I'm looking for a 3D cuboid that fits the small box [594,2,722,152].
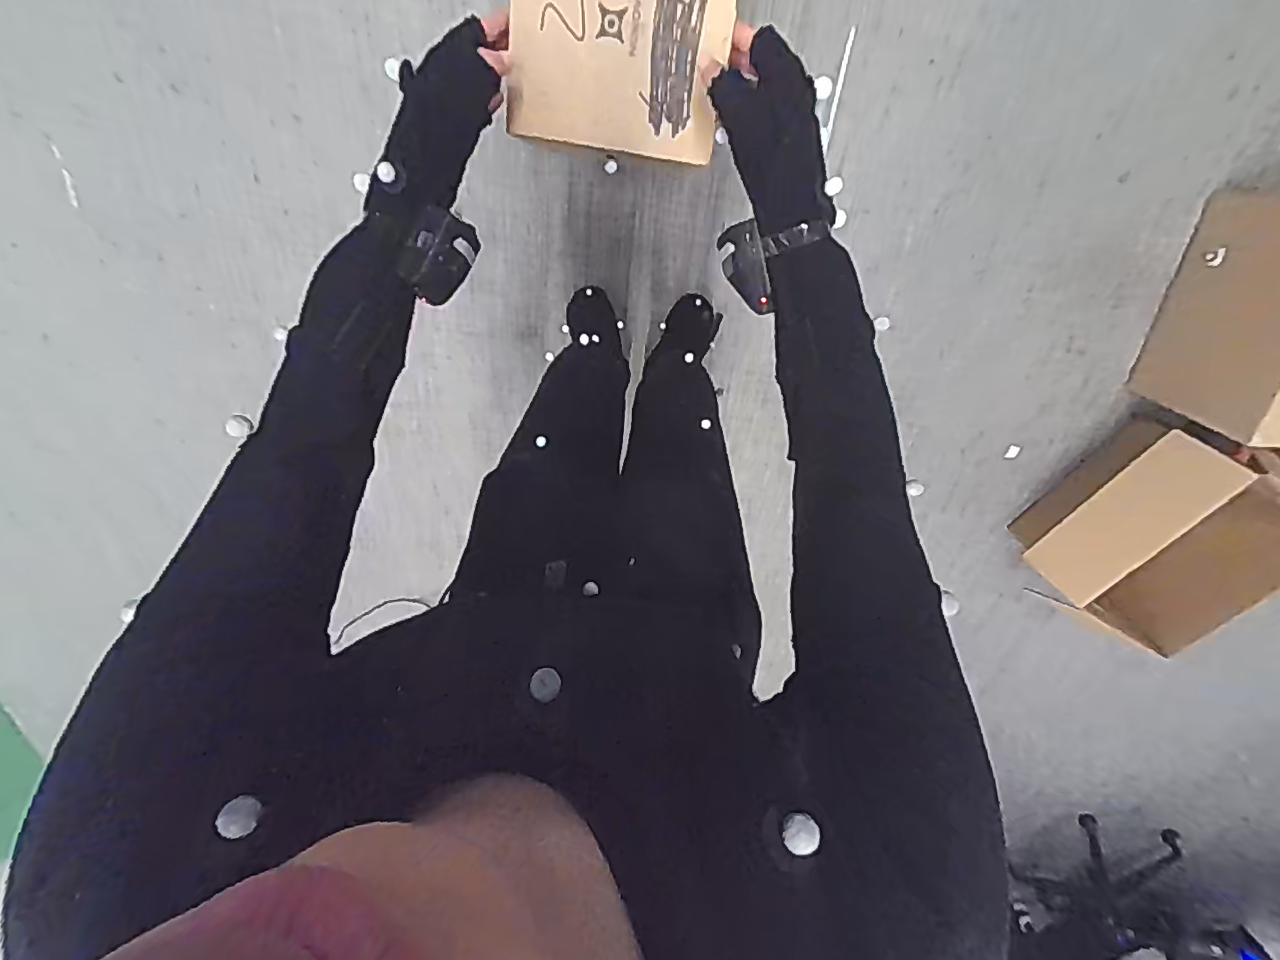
[{"bbox_3d":[0.028,-0.680,0.935,0.179,0.176,0.168,12,120,-5],"label":"small box"}]
